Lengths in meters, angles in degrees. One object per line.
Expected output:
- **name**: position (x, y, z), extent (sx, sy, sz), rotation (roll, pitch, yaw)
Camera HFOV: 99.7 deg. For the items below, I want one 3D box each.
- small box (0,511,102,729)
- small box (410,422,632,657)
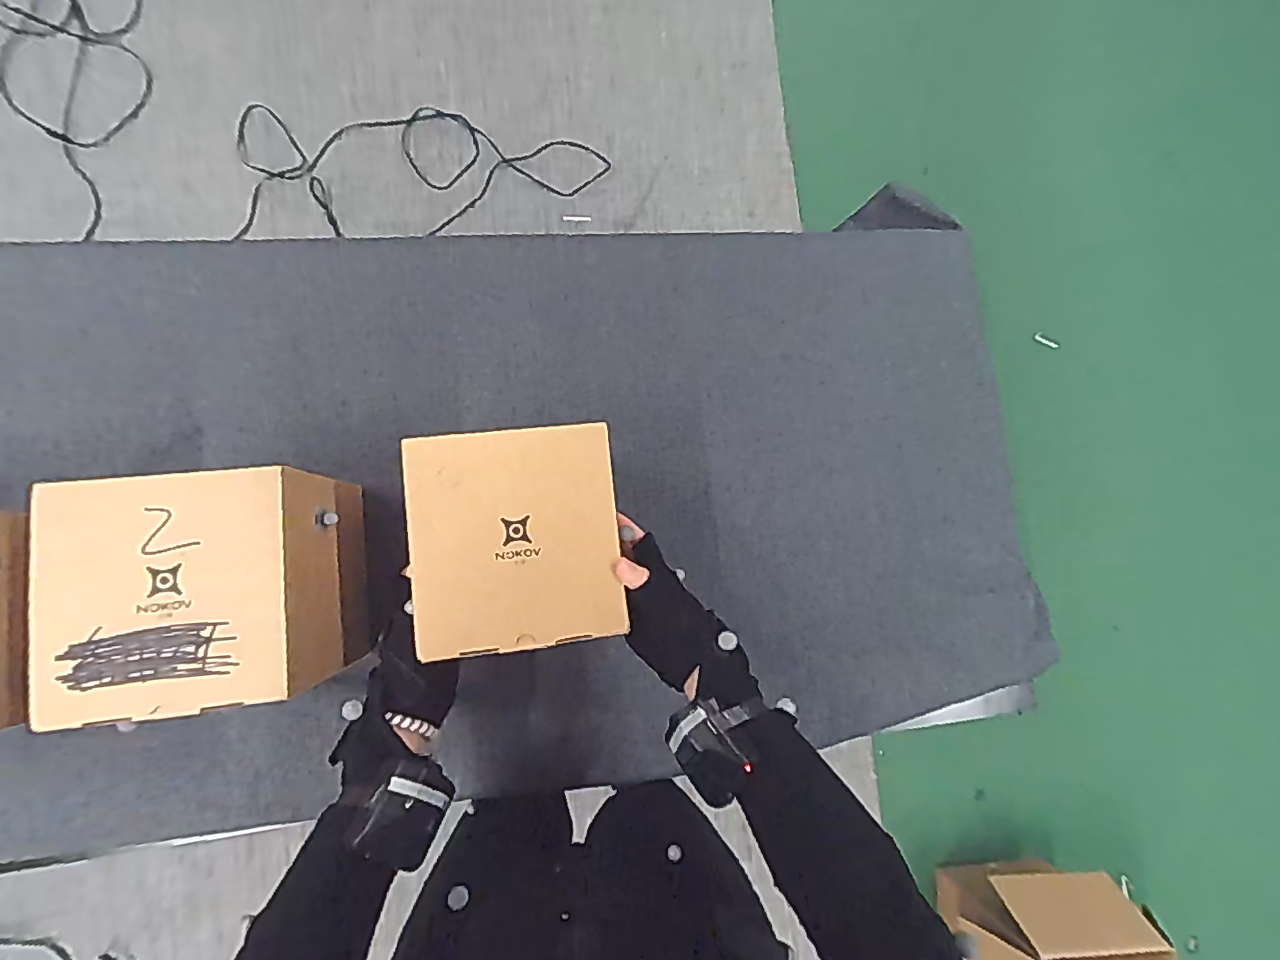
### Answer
- **small box**: position (-0.583, 0.117, 0.427), extent (0.168, 0.176, 0.179), rotation (-6, 84, -10)
- **small box**: position (-0.107, 0.051, 0.511), extent (0.168, 0.176, 0.179), rotation (-6, 86, -9)
